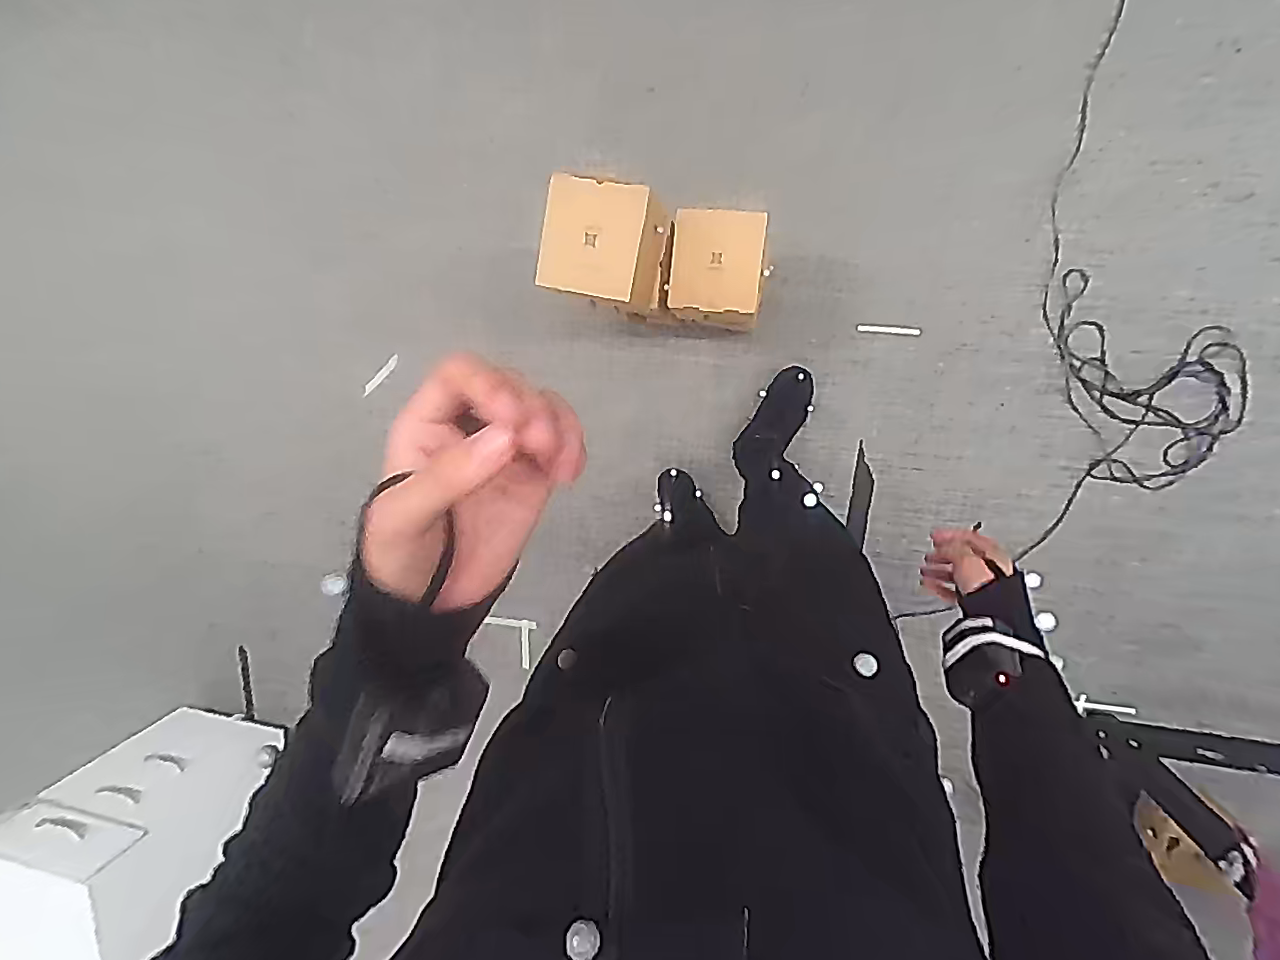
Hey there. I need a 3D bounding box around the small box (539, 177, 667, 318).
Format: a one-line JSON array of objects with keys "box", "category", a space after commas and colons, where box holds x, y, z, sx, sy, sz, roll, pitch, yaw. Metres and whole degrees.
[{"box": [-0.056, -0.391, 0.936, 0.168, 0.176, 0.179, 14, 103, 9], "category": "small box"}]
